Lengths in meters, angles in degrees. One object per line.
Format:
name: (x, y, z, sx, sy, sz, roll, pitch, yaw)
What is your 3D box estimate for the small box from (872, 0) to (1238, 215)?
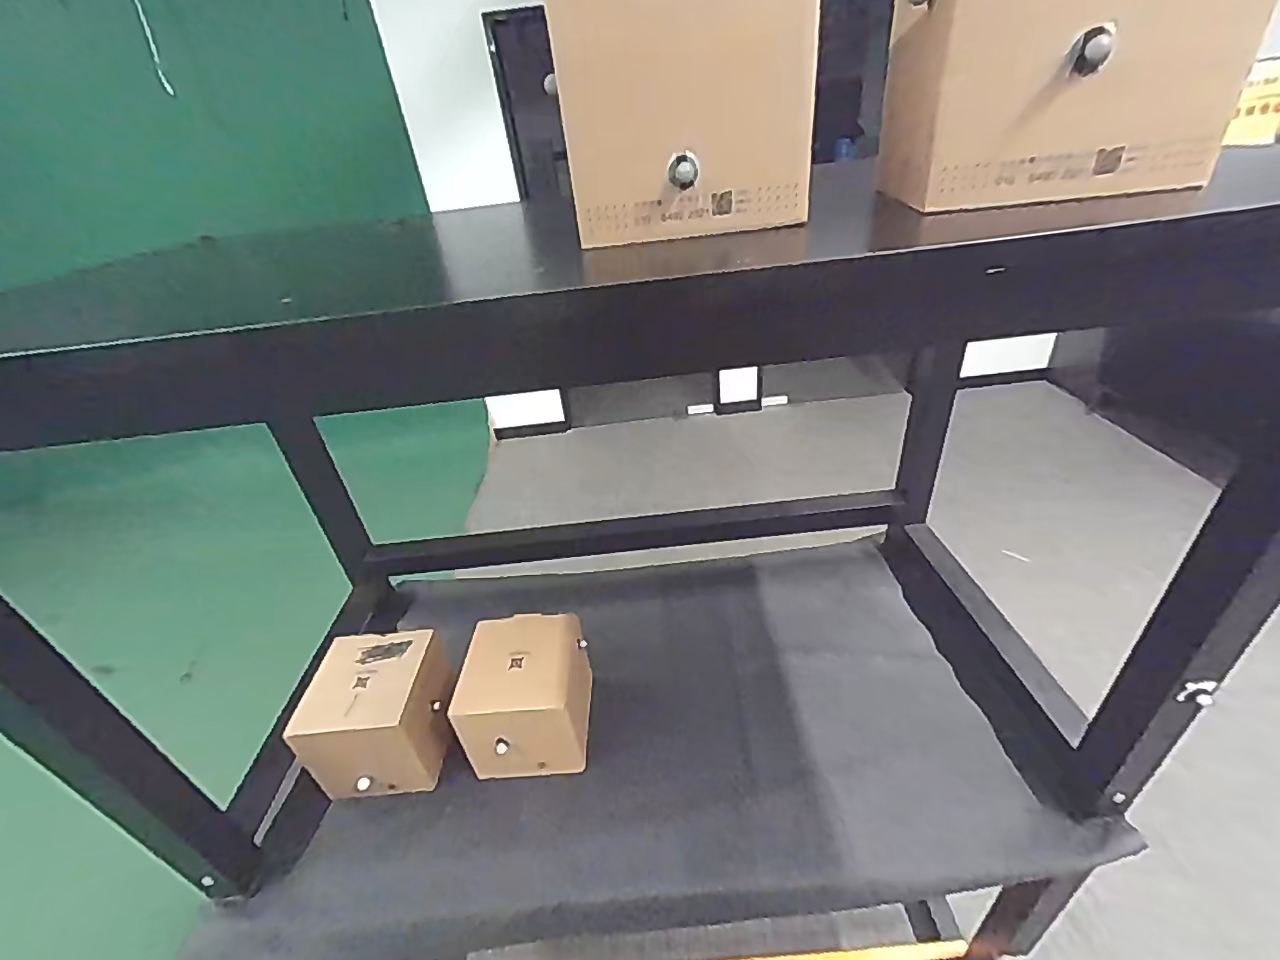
small box: (0.277, -0.296, 0.393, 0.168, 0.176, 0.179, 0, 32, 11)

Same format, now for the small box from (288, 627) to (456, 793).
small box: (-0.403, 0.361, 0.857, 0.168, 0.176, 0.179, -6, 33, 2)

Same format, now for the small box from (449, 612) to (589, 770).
small box: (-0.177, 0.337, 0.858, 0.168, 0.176, 0.179, -5, 32, 3)
